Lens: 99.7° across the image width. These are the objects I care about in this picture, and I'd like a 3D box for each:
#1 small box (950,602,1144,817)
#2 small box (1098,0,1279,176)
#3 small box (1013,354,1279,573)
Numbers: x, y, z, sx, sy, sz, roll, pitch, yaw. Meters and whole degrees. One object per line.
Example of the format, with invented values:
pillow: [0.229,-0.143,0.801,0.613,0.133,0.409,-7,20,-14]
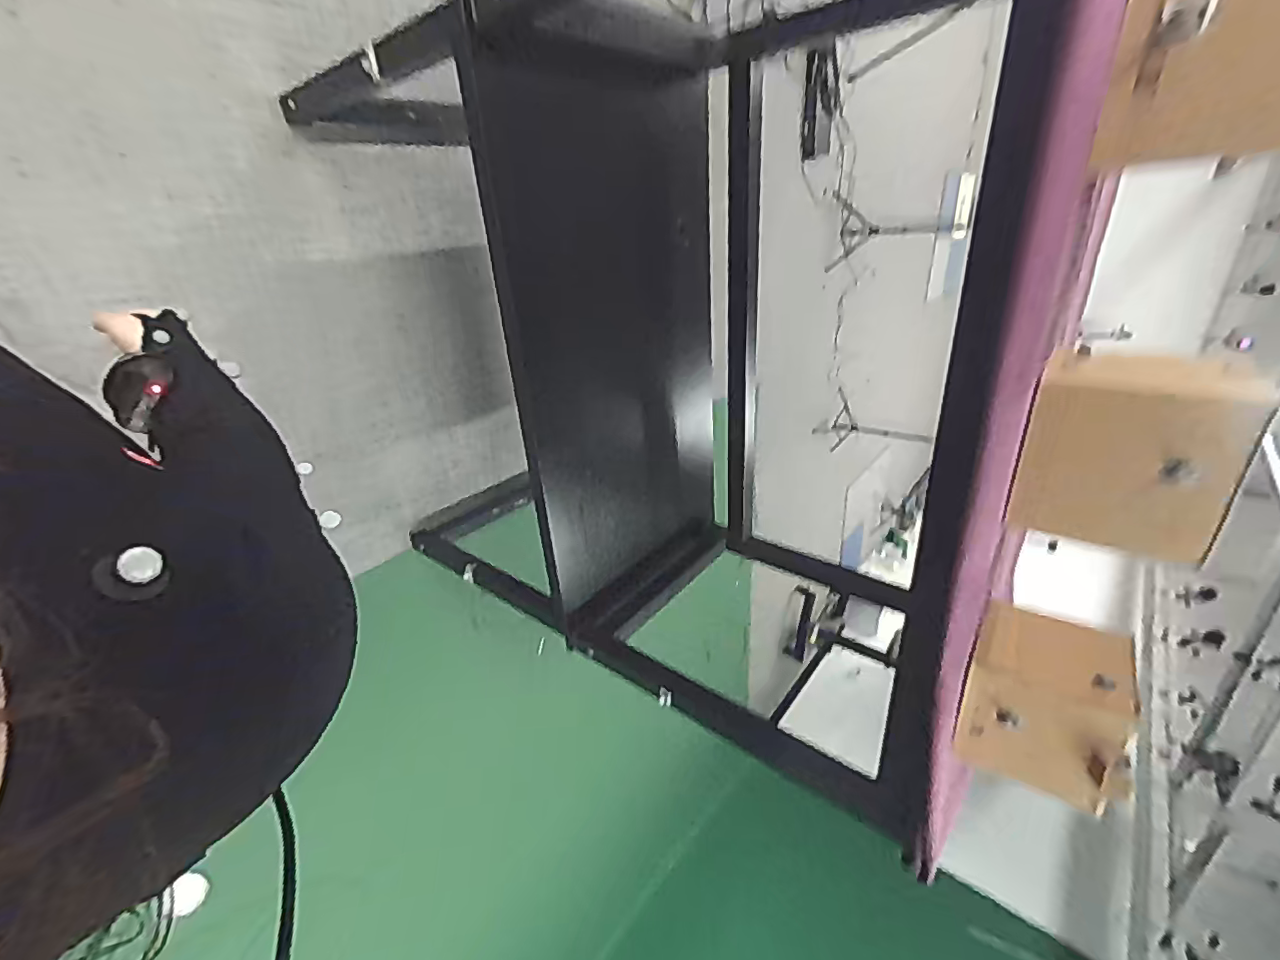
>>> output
small box: [0.543,0.293,0.734,0.179,0.176,0.168,-28,124,-45]
small box: [0.479,-0.333,0.404,0.179,0.176,0.168,-33,127,-39]
small box: [0.525,-0.034,0.582,0.168,0.176,0.179,-30,127,-43]
